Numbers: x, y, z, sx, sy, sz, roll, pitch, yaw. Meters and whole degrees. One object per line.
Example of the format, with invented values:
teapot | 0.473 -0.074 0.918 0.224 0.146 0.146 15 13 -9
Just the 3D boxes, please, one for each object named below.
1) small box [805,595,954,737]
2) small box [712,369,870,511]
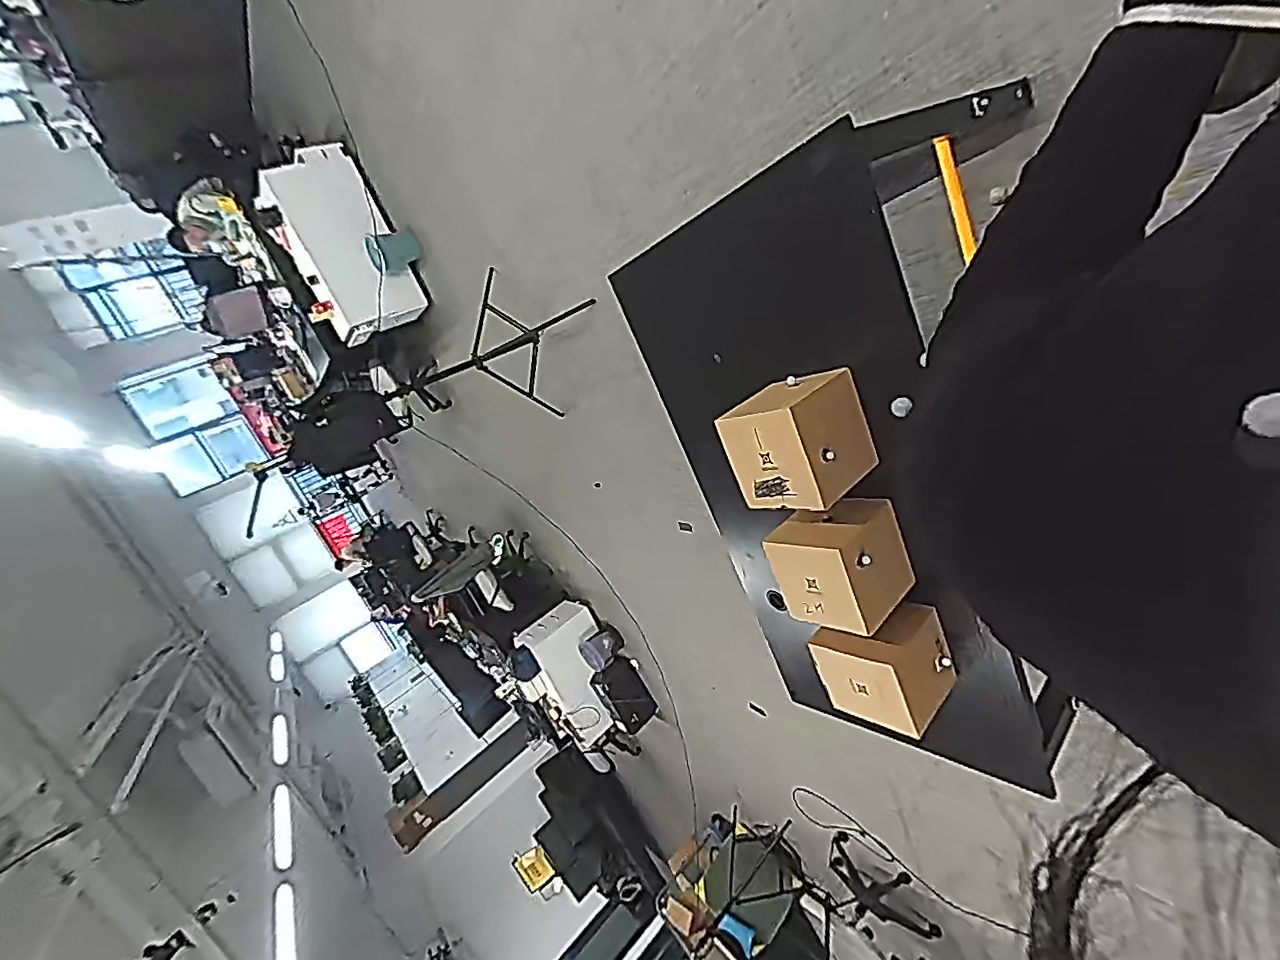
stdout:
small box | 0.453 0.338 1.023 0.179 0.176 0.168 -4 116 55
small box | 0.259 -0.066 0.914 0.168 0.176 0.179 -2 117 56
